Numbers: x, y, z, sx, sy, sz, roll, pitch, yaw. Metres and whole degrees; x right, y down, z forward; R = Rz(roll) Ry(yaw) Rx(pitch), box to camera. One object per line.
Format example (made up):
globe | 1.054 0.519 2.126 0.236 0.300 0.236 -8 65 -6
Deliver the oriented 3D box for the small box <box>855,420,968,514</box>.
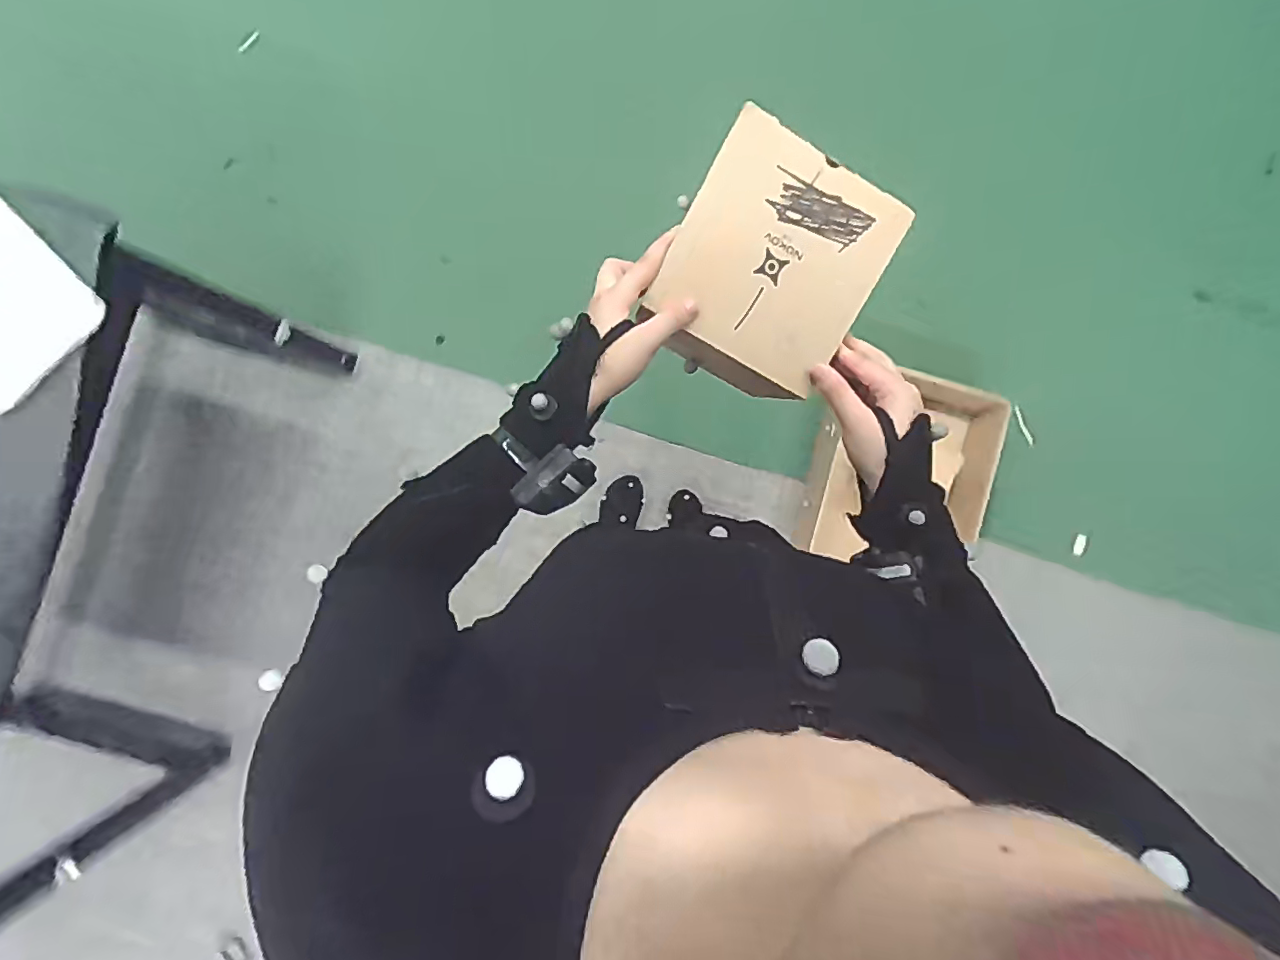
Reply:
small box | 0.682 -0.032 1.386 0.168 0.176 0.179 29 90 -2

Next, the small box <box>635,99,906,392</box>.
small box | 0.103 -0.201 0.519 0.168 0.176 0.179 27 98 -8
